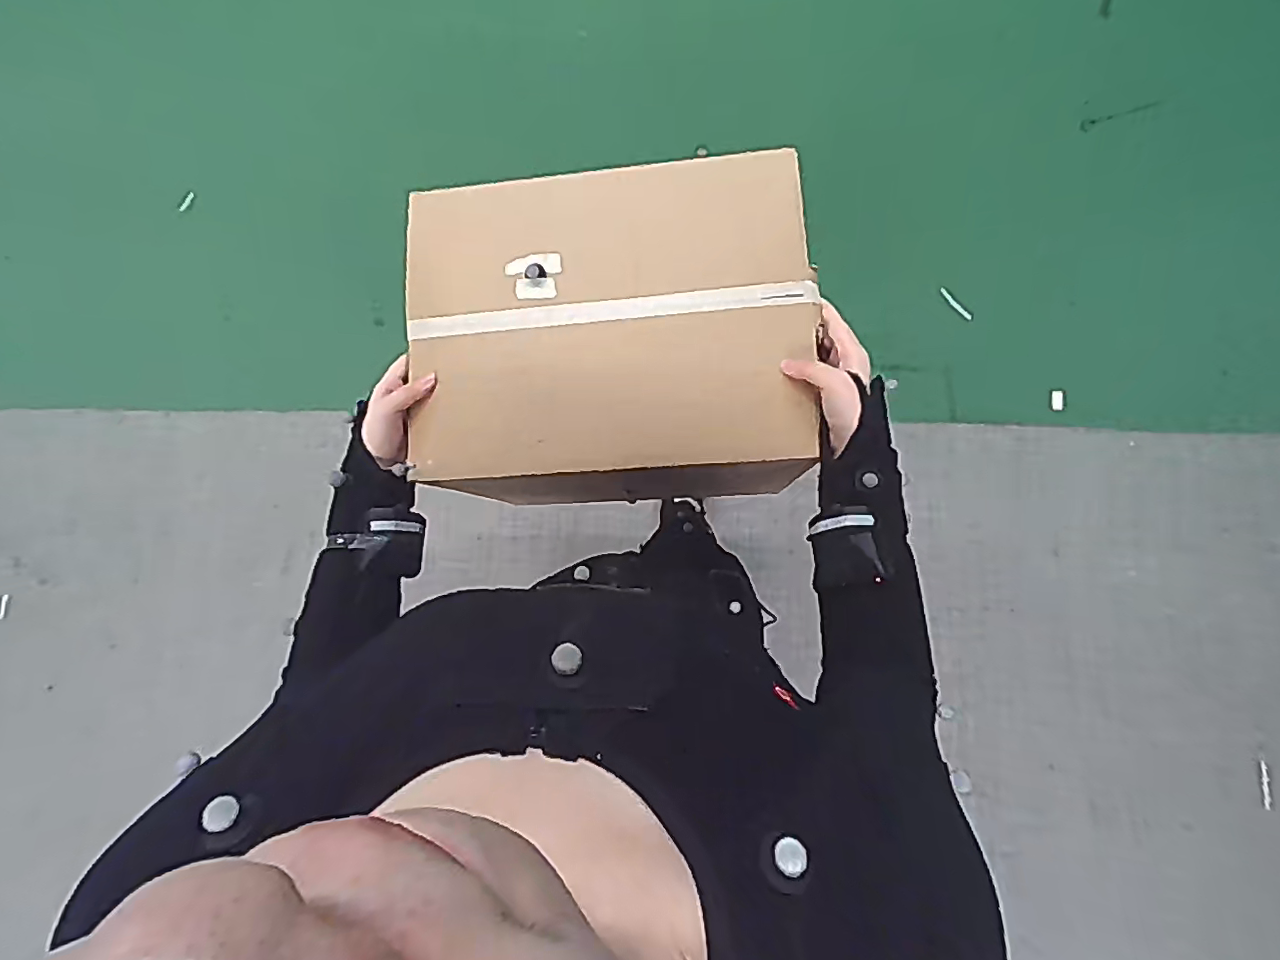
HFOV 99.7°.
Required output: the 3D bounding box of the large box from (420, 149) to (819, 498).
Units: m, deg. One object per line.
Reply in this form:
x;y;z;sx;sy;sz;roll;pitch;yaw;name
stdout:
-0.015;-0.152;0.696;0.408;0.320;0.320;-4;82;7;large box
